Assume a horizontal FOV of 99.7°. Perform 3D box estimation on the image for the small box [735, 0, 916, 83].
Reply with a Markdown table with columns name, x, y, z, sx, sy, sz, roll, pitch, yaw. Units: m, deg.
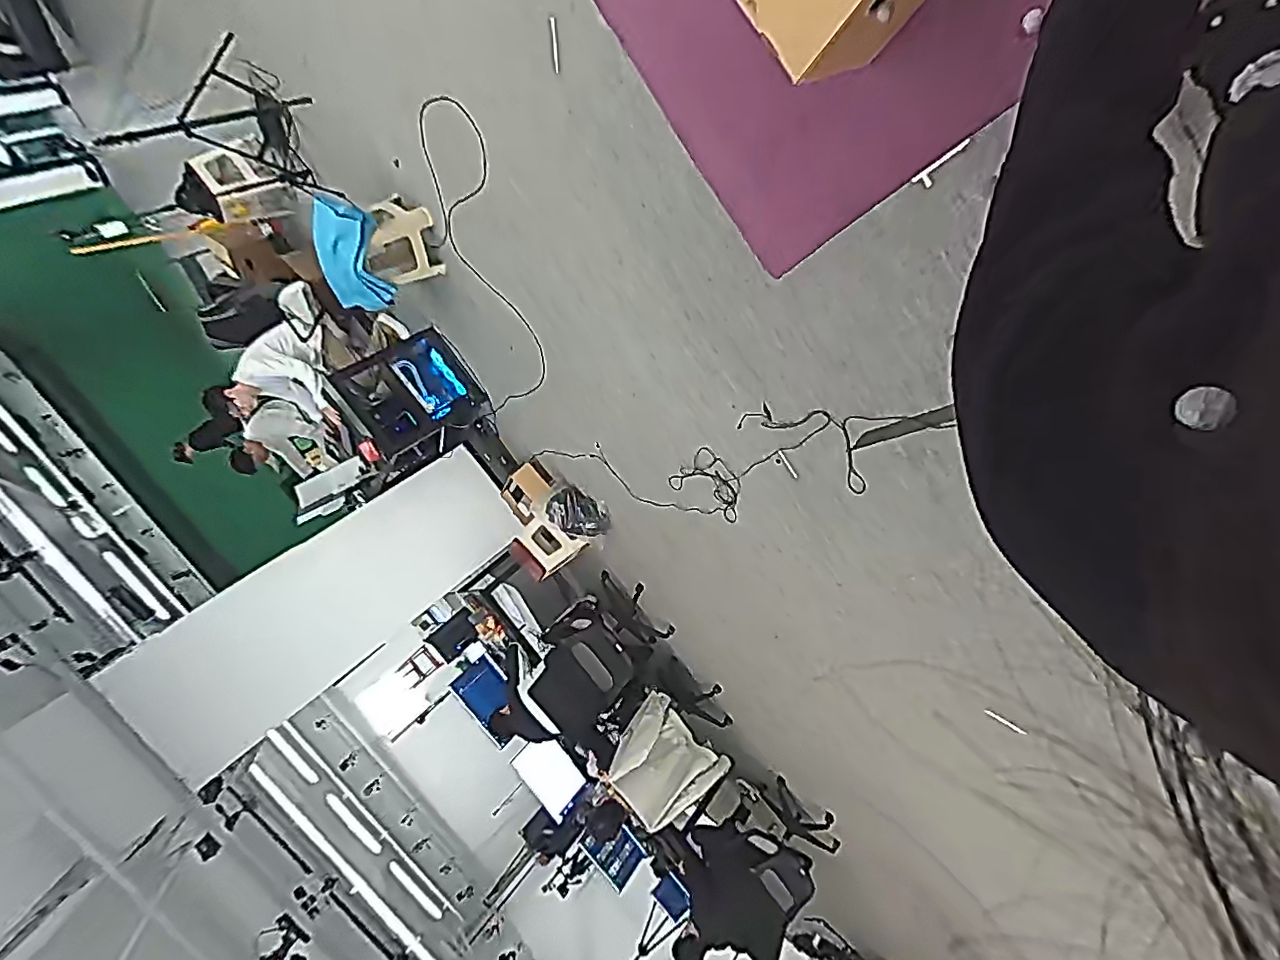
| name | x | y | z | sx | sy | sz | roll | pitch | yaw |
| --- | --- | --- | --- | --- | --- | --- | --- | --- | --- |
| small box | 0.196 | -0.525 | 0.501 | 0.168 | 0.176 | 0.179 | 53 | 149 | -5 |
